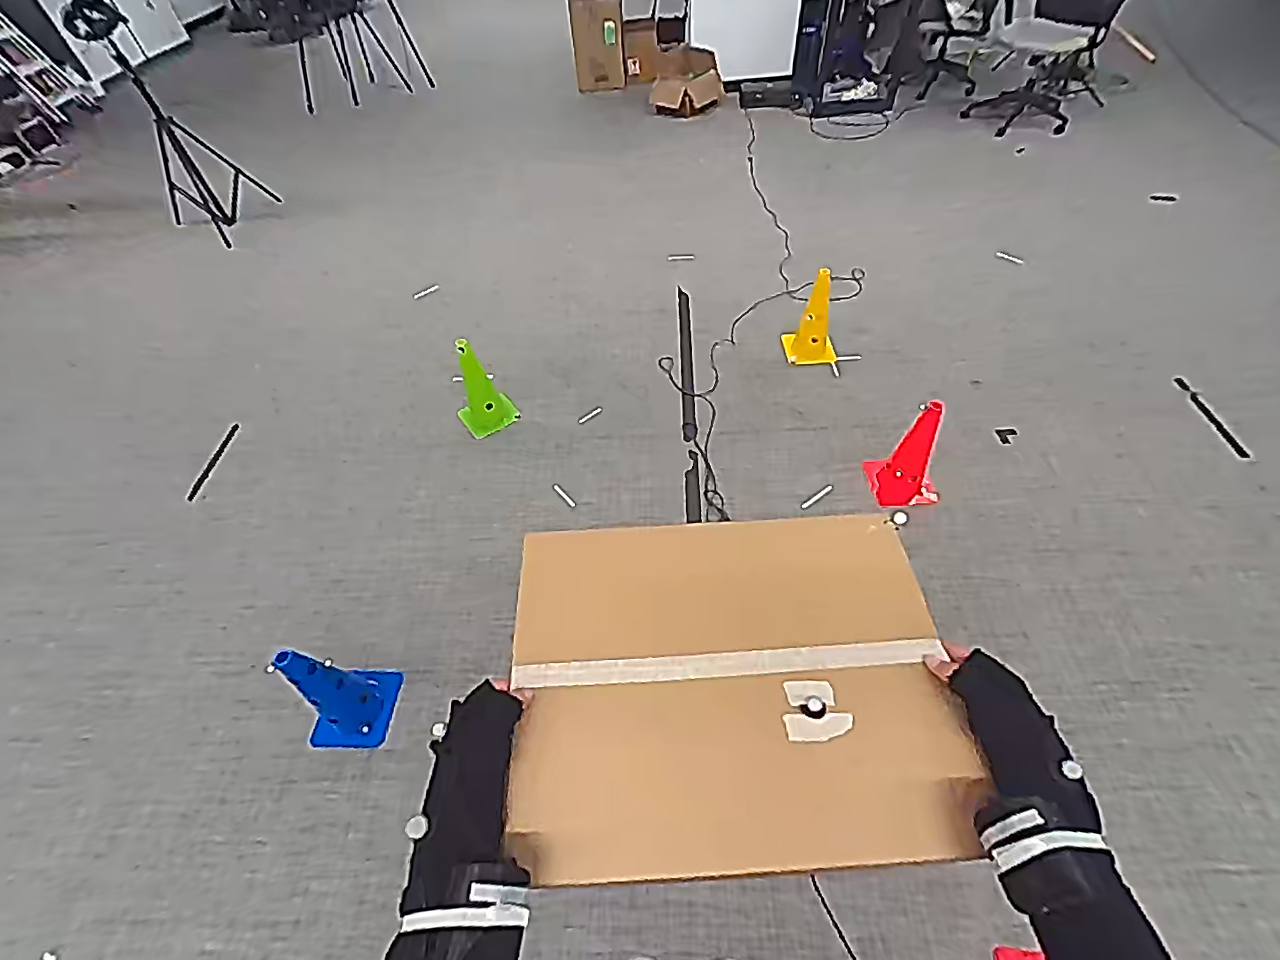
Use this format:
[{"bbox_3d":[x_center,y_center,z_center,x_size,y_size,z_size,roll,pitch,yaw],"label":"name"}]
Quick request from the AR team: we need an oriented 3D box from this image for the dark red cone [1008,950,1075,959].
[{"bbox_3d":[0.777,0.891,0.851,0.201,0.394,0.202,2,51,8],"label":"dark red cone"}]

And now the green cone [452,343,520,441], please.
[{"bbox_3d":[-0.618,-0.360,2.024,0.202,0.368,0.200,-33,55,-19],"label":"green cone"}]

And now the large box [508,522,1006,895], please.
[{"bbox_3d":[0.085,0.271,0.628,0.408,0.320,0.320,-3,53,-1],"label":"large box"}]

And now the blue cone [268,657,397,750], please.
[{"bbox_3d":[-0.779,0.525,1.336,0.192,0.380,0.193,0,51,6],"label":"blue cone"}]

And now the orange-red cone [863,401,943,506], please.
[{"bbox_3d":[0.860,-0.102,1.687,0.198,0.360,0.199,-3,49,1],"label":"orange-red cone"}]
